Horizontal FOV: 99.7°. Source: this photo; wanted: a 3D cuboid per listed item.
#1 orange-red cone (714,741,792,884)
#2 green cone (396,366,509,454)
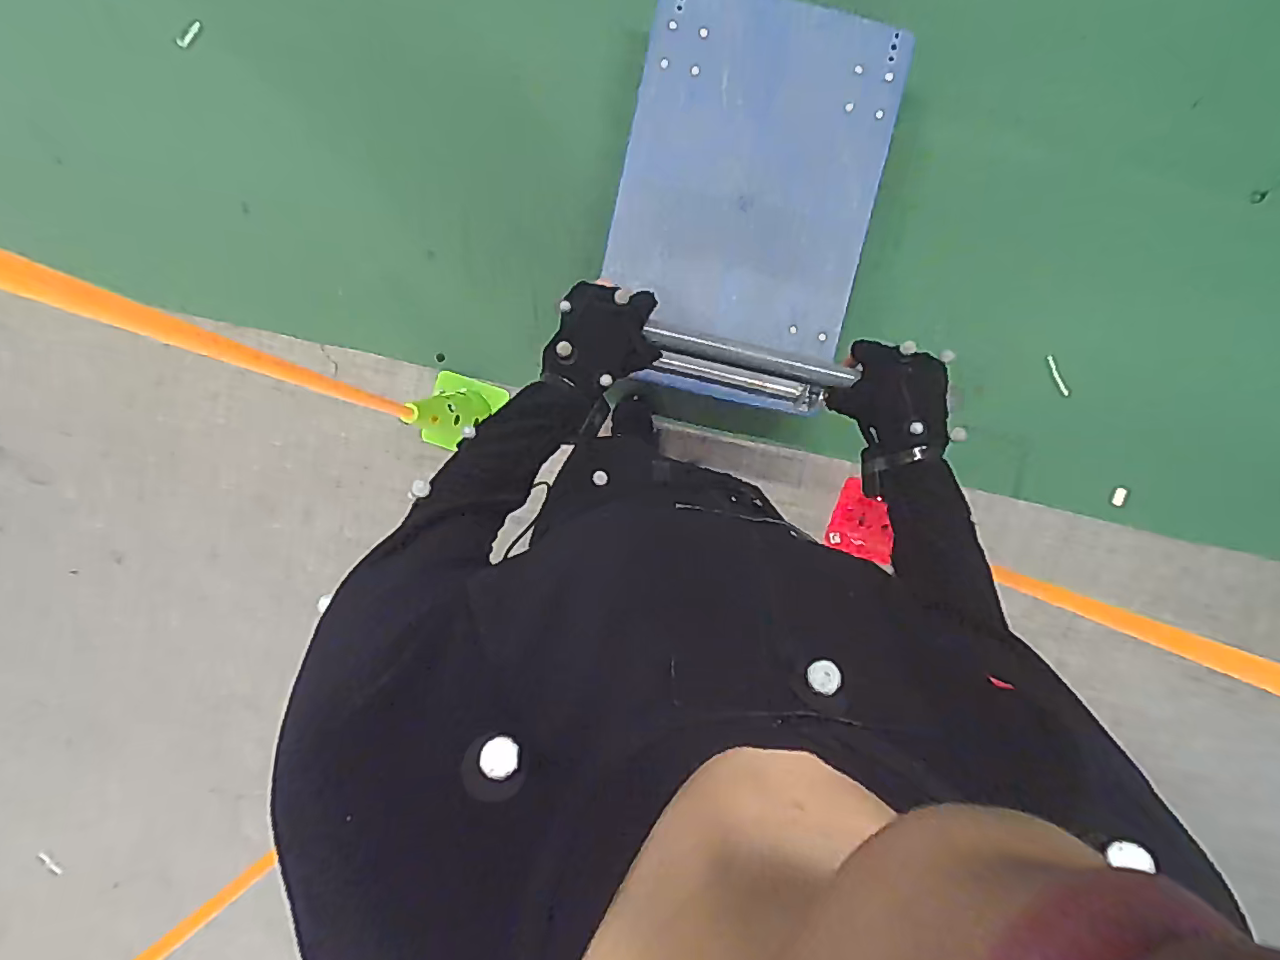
[{"bbox_3d":[0.321,0.877,1.388,0.199,0.360,0.198,12,95,1],"label":"orange-red cone"},{"bbox_3d":[-0.472,-0.173,1.286,0.202,0.368,0.200,17,95,0],"label":"green cone"}]
